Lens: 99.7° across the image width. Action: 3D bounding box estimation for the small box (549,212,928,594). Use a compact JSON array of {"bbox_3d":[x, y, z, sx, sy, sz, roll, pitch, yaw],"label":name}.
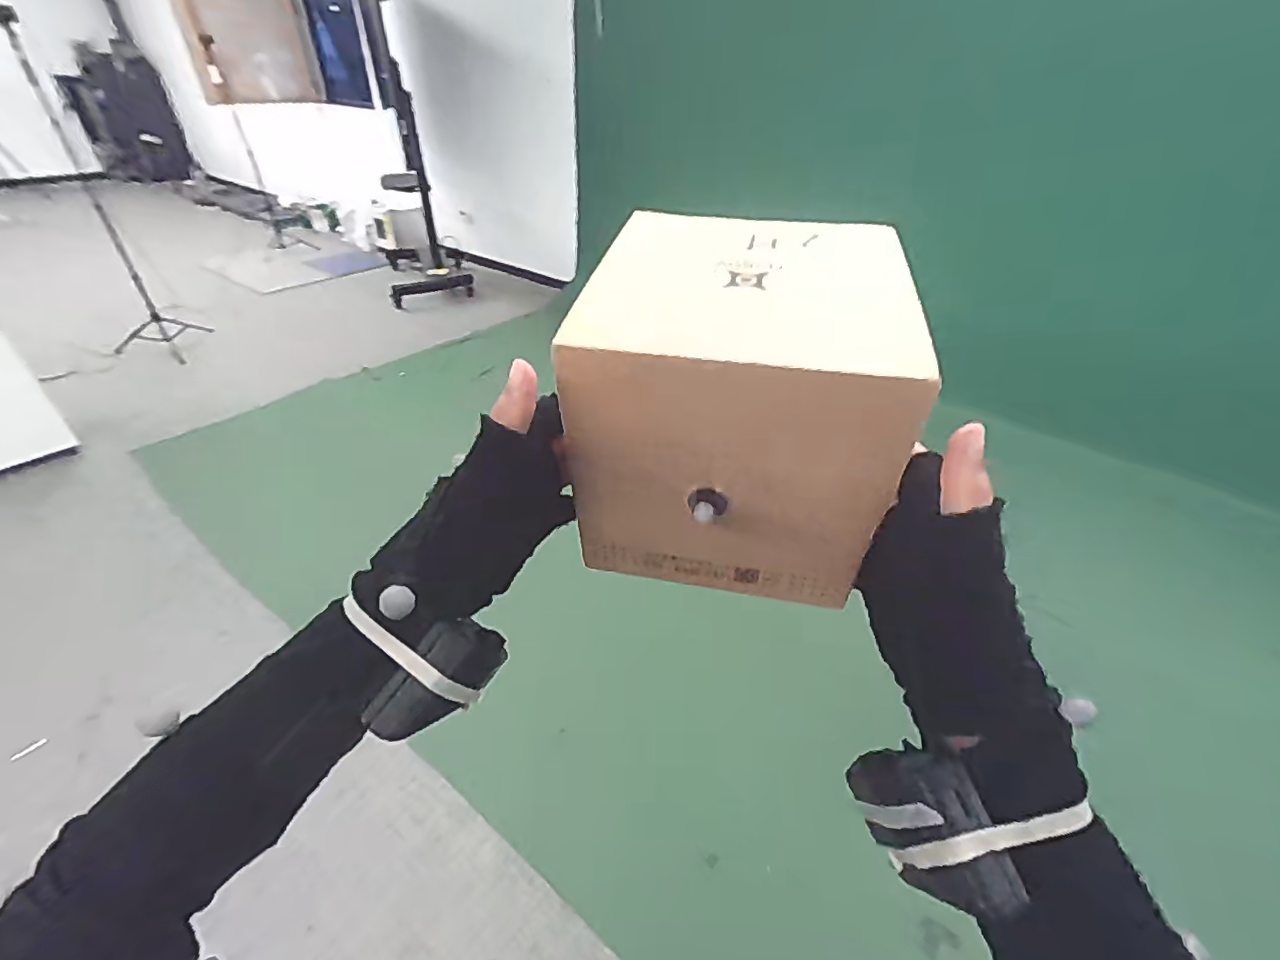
[{"bbox_3d":[0.057,-0.051,0.343,0.168,0.176,0.179,8,44,9],"label":"small box"}]
